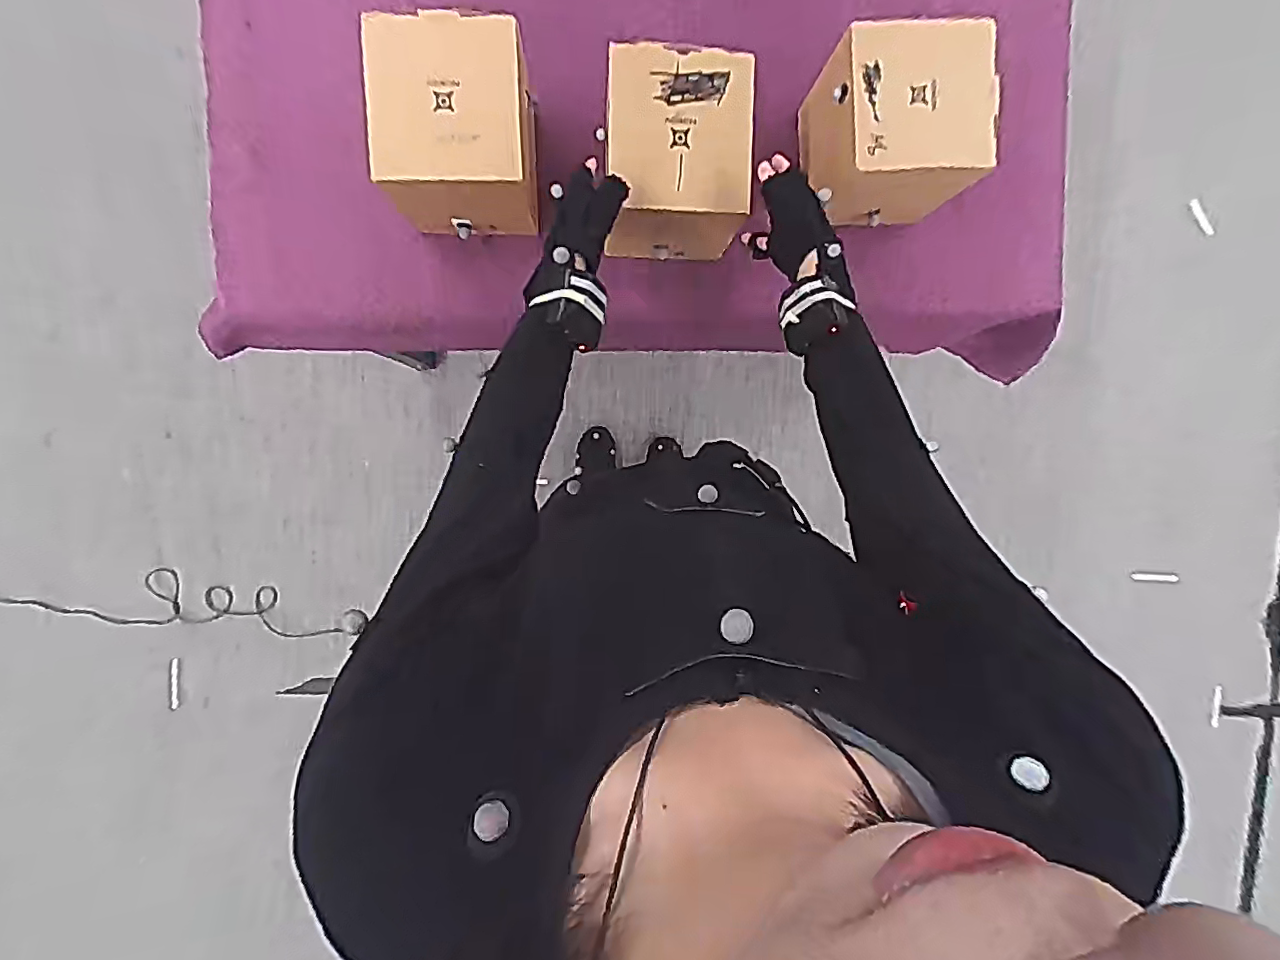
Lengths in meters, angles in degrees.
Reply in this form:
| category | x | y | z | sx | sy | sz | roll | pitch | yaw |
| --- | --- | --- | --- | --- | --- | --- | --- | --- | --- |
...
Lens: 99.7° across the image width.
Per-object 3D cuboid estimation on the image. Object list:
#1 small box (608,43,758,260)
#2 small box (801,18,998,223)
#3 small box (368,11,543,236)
| category | x | y | z | sx | sy | sz | roll | pitch | yaw |
| --- | --- | --- | --- | --- | --- | --- | --- | --- | --- |
| small box | 0.044 | -0.400 | 0.686 | 0.168 | 0.176 | 0.179 | 0 | 94 | -4 |
| small box | 0.327 | -0.452 | 0.706 | 0.179 | 0.176 | 0.168 | -4 | 94 | -4 |
| small box | -0.213 | -0.422 | 0.666 | 0.168 | 0.176 | 0.179 | -3 | 95 | -3 |
